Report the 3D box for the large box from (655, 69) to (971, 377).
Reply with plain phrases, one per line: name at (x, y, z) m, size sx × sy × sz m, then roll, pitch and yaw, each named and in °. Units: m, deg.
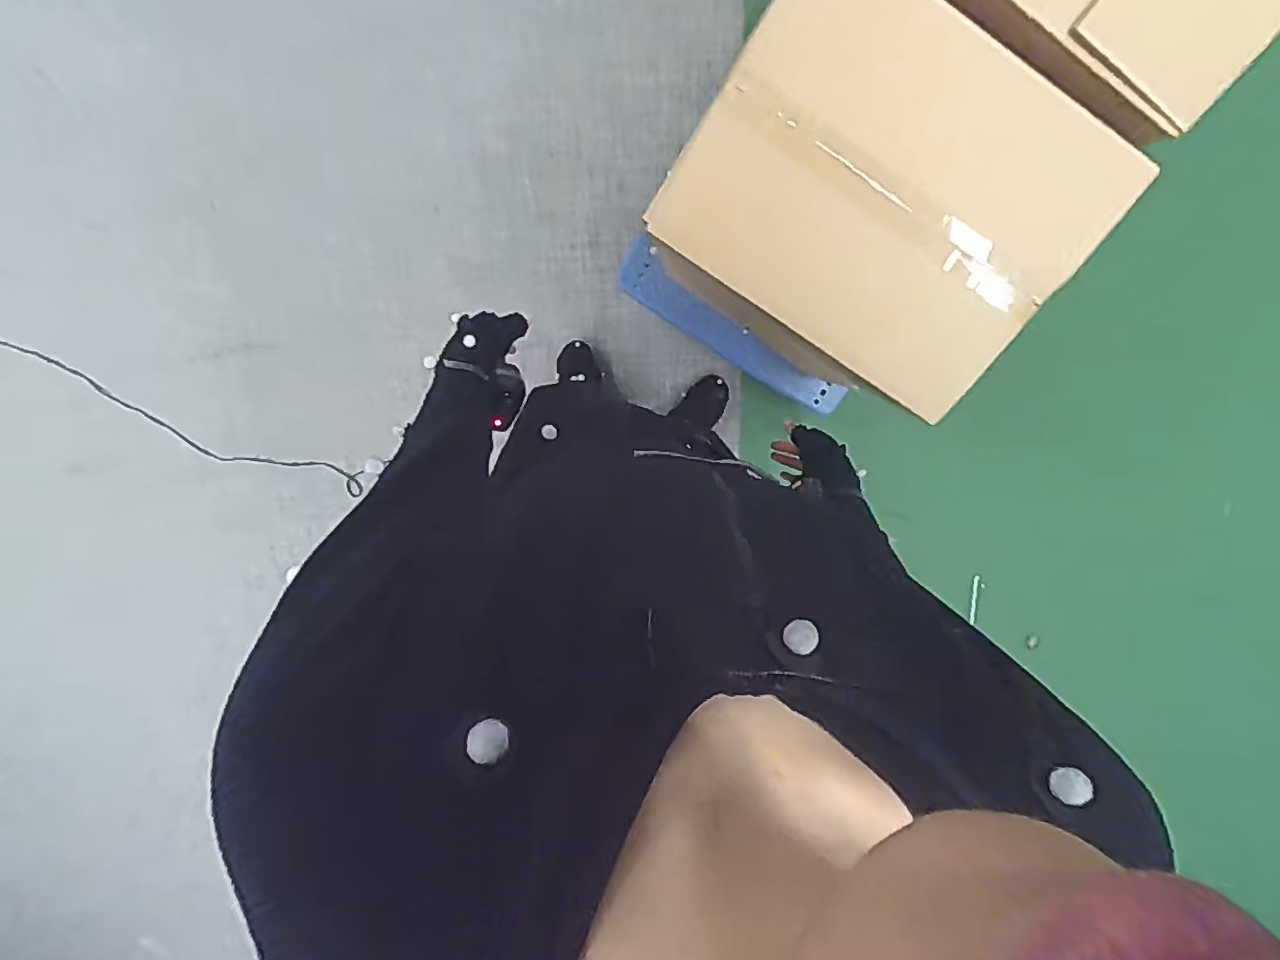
large box at (0.284, -0.431, 1.006) m, size 0.408 × 0.320 × 0.320 m, roll 33°, pitch 103°, yaw -3°
